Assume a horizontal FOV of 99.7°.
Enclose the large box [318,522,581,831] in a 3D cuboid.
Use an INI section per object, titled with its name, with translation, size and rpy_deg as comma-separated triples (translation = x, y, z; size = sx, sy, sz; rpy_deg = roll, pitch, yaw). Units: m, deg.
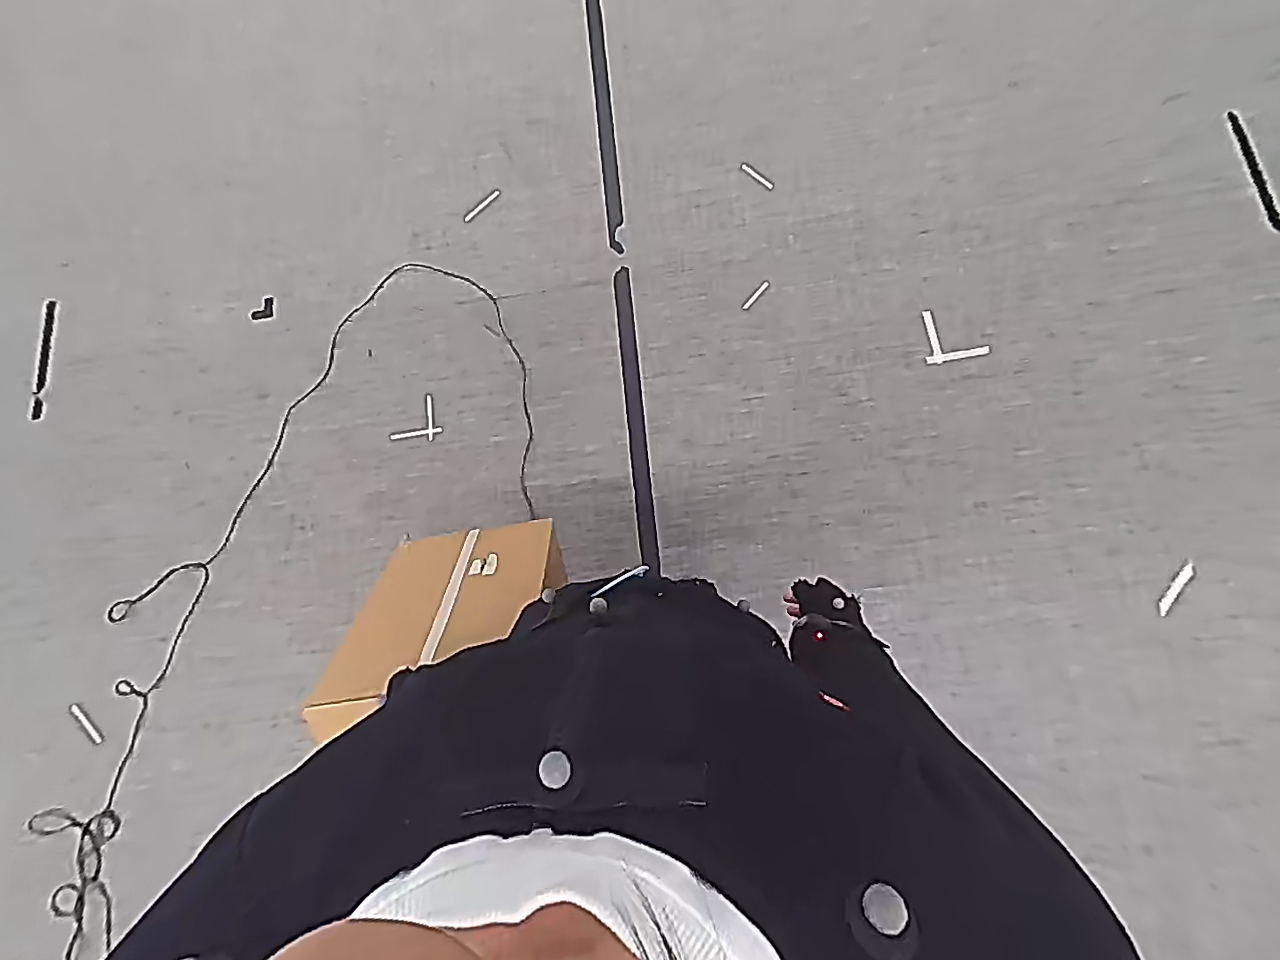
[large box]
translation = -0.286, 0.326, 0.976
size = 0.320, 0.408, 0.320
rpy_deg = -8, 117, 0
